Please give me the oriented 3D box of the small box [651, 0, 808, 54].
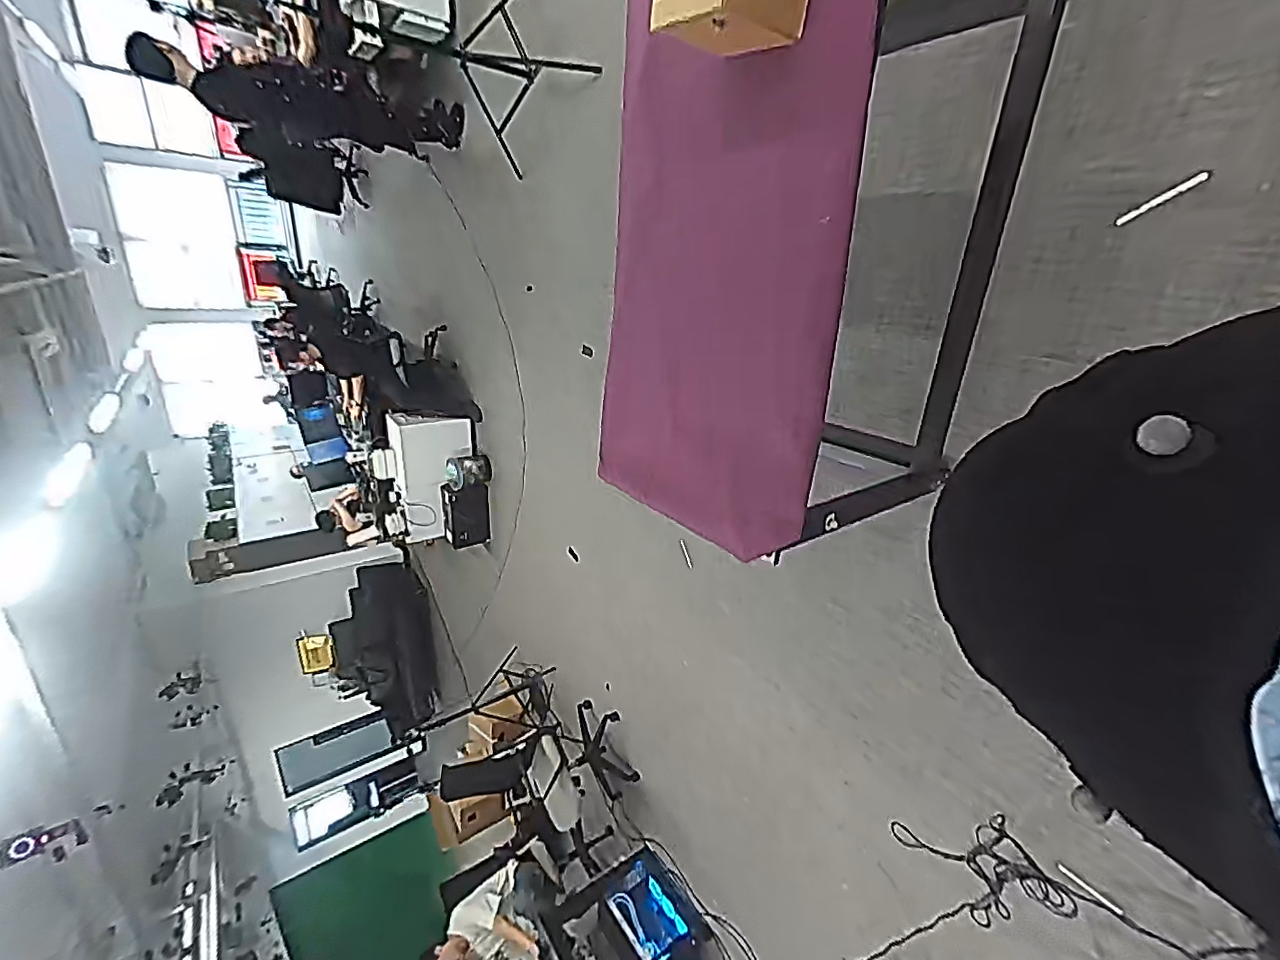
[{"bbox_3d":[0.142,-0.771,0.814,0.179,0.176,0.168,36,129,46],"label":"small box"}]
